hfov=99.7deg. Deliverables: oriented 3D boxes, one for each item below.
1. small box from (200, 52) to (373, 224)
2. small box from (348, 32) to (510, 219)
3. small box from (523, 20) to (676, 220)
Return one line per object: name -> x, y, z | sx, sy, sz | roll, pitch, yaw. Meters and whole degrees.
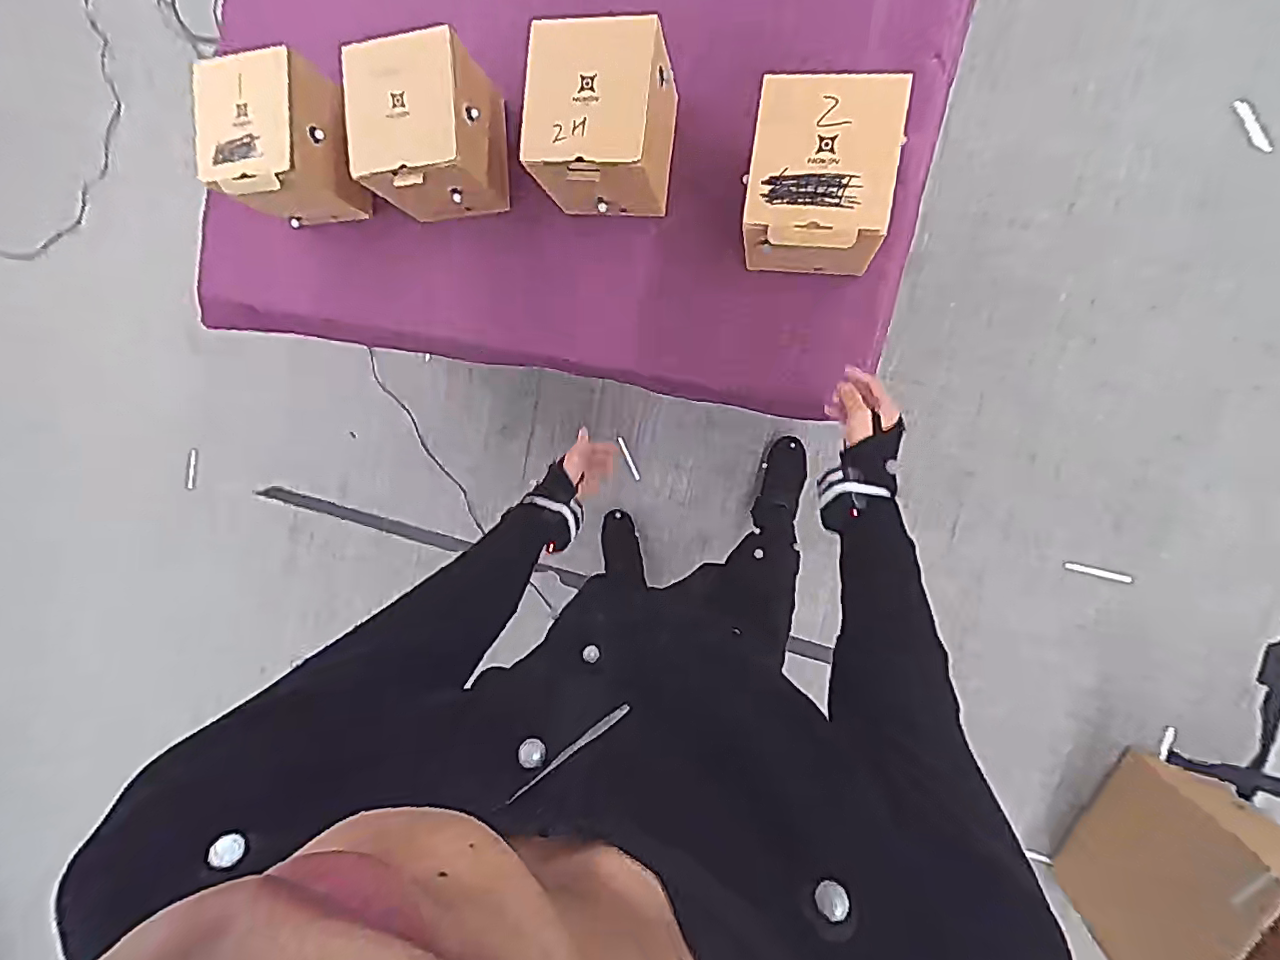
small box -> -0.552, -0.528, 0.865 | 0.168, 0.176, 0.179 | 1, 94, 12
small box -> -0.306, -0.513, 0.816 | 0.168, 0.176, 0.179 | -1, 94, 12
small box -> -0.047, -0.492, 0.760 | 0.168, 0.176, 0.179 | 8, 96, 12
